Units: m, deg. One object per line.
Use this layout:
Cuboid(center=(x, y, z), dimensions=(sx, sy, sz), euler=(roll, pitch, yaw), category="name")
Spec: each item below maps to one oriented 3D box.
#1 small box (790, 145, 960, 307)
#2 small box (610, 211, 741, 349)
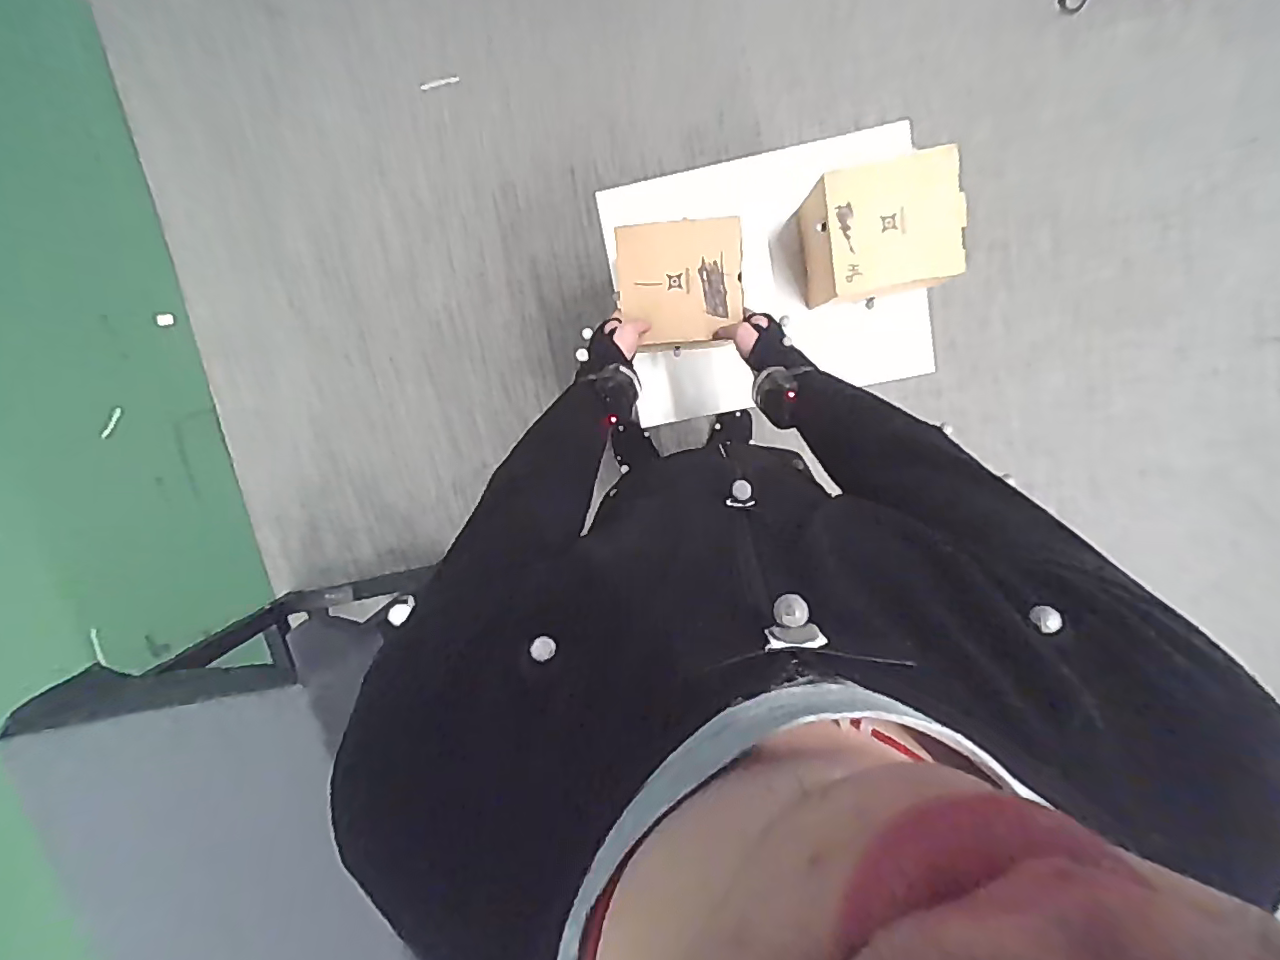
Cuboid(center=(0.336, -0.360, 0.796), dimensions=(0.179, 0.176, 0.168), euler=(-9, 100, 3), category="small box")
Cuboid(center=(0.049, -0.289, 0.814), dimensions=(0.179, 0.176, 0.168), euler=(-3, 99, 1), category="small box")
